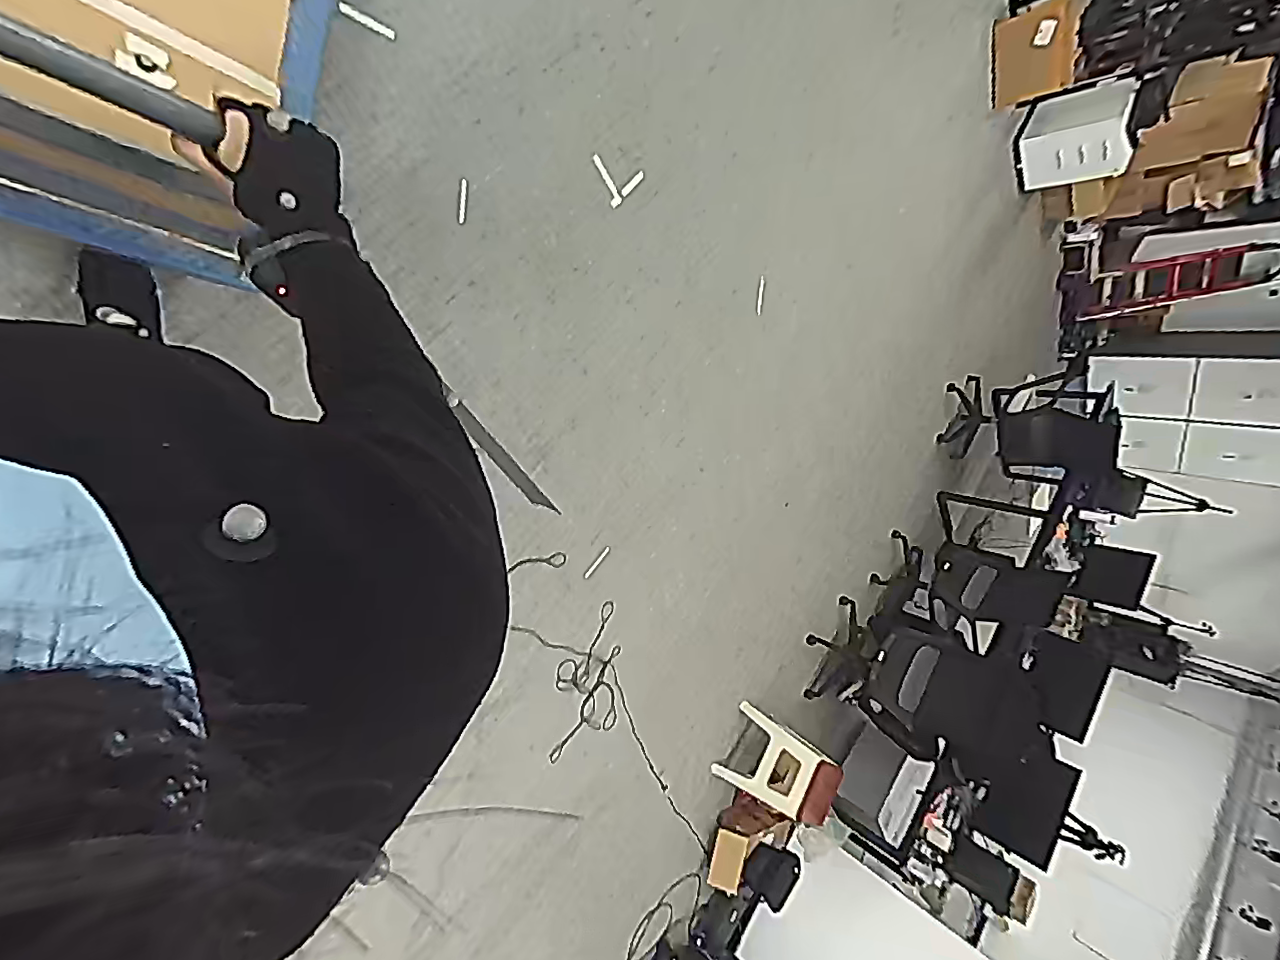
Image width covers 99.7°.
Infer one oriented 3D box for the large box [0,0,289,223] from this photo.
[{"bbox_3d":[-0.776,-0.616,0.753,0.408,0.320,0.320,9,95,-45],"label":"large box"}]
